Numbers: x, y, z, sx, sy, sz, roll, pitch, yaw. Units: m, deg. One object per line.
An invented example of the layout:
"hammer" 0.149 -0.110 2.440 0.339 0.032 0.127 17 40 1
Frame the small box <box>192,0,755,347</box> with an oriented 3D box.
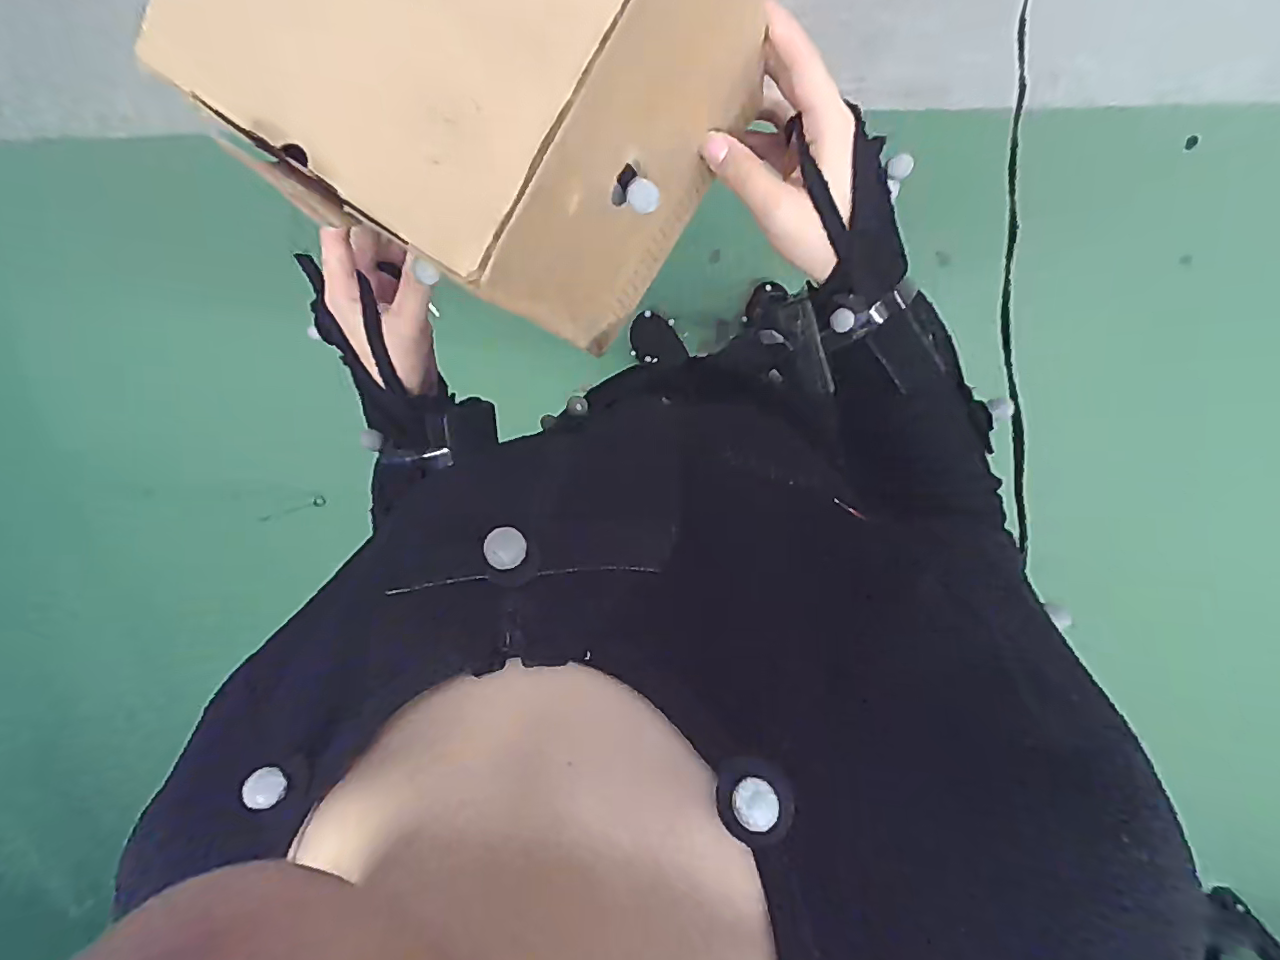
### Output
"small box" -0.053 -0.186 0.269 0.168 0.176 0.179 35 101 6
